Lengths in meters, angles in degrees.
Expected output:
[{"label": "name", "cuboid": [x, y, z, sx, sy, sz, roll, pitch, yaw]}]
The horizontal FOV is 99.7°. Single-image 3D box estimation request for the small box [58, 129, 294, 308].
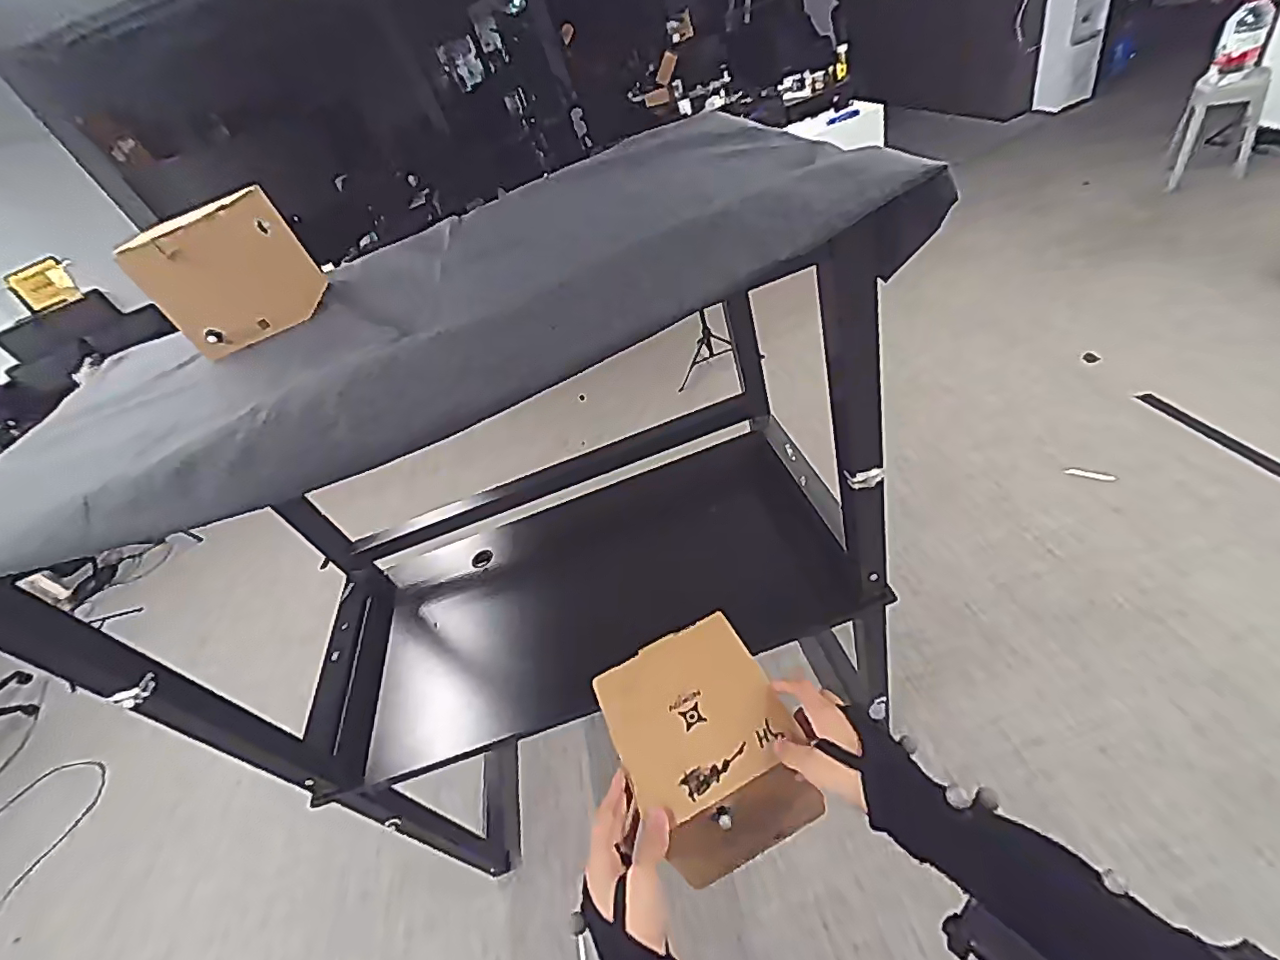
[{"label": "small box", "cuboid": [-0.642, -0.372, 0.780, 0.168, 0.176, 0.179, -23, 41, -1]}]
